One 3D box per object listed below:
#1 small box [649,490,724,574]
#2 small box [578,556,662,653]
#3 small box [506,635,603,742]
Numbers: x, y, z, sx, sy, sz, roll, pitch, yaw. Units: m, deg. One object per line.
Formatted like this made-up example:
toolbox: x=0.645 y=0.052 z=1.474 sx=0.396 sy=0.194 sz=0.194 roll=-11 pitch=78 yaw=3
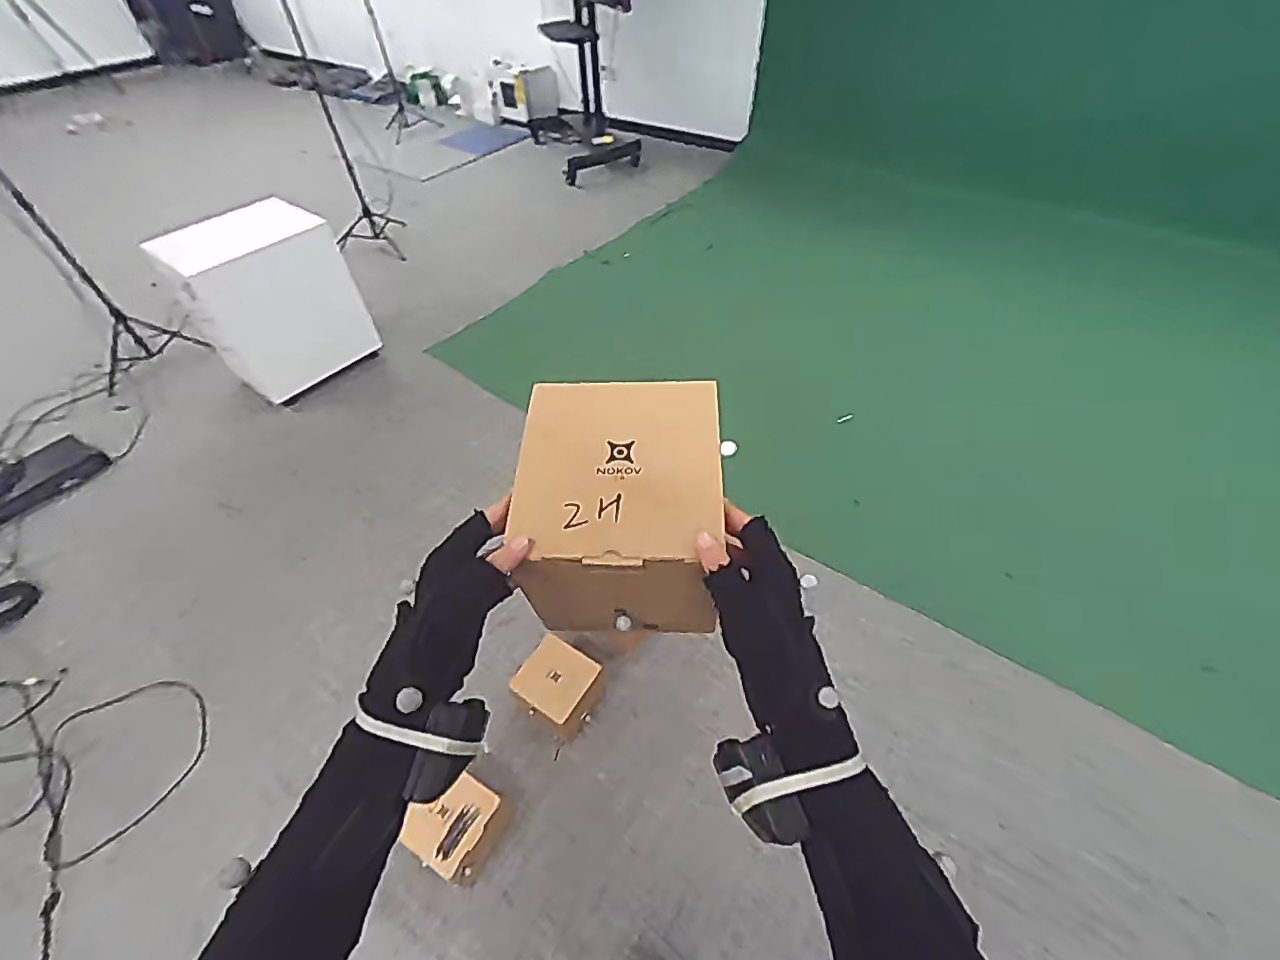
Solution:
small box: x=0.145 y=0.171 z=1.705 sx=0.179 sy=0.176 sz=0.168 roll=28 pitch=54 yaw=25
small box: x=-0.056 y=0.358 z=1.542 sx=0.179 sy=0.176 sz=0.168 roll=34 pitch=57 yaw=26
small box: x=-0.211 y=0.538 z=1.383 sx=0.179 sy=0.176 sz=0.168 roll=26 pitch=55 yaw=20
